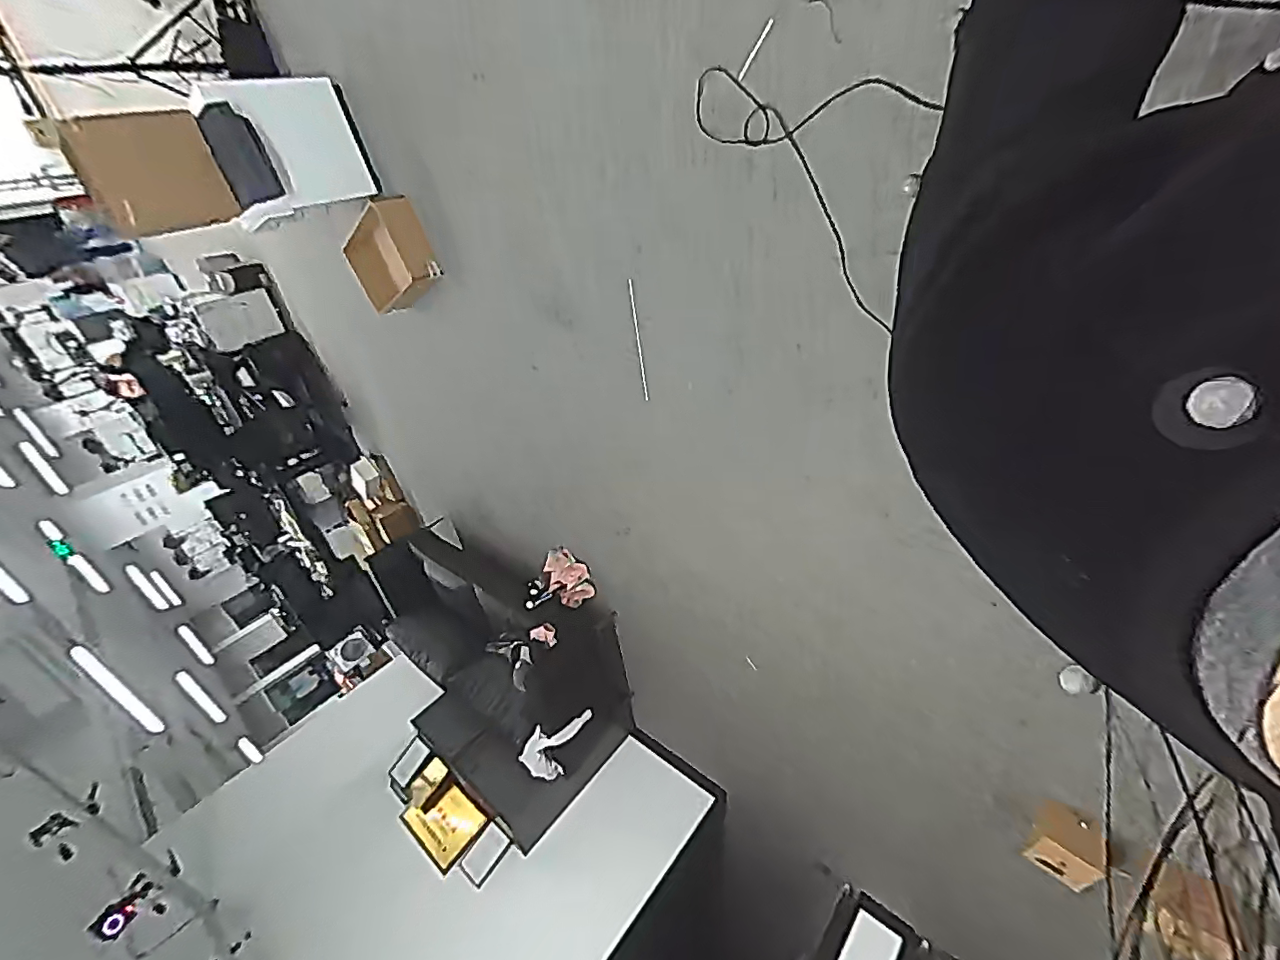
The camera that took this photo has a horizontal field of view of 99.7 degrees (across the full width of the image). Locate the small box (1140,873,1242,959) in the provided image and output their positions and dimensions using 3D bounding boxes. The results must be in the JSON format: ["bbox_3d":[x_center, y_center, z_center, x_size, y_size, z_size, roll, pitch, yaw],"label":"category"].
[{"bbox_3d":[1.649,1.329,1.622,0.179,0.176,0.168,18,130,37],"label":"small box"}]

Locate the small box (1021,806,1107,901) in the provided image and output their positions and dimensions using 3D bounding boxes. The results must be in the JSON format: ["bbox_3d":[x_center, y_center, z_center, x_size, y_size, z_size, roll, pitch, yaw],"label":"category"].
[{"bbox_3d":[1.420,1.243,1.806,0.168,0.176,0.179,27,135,31],"label":"small box"}]
